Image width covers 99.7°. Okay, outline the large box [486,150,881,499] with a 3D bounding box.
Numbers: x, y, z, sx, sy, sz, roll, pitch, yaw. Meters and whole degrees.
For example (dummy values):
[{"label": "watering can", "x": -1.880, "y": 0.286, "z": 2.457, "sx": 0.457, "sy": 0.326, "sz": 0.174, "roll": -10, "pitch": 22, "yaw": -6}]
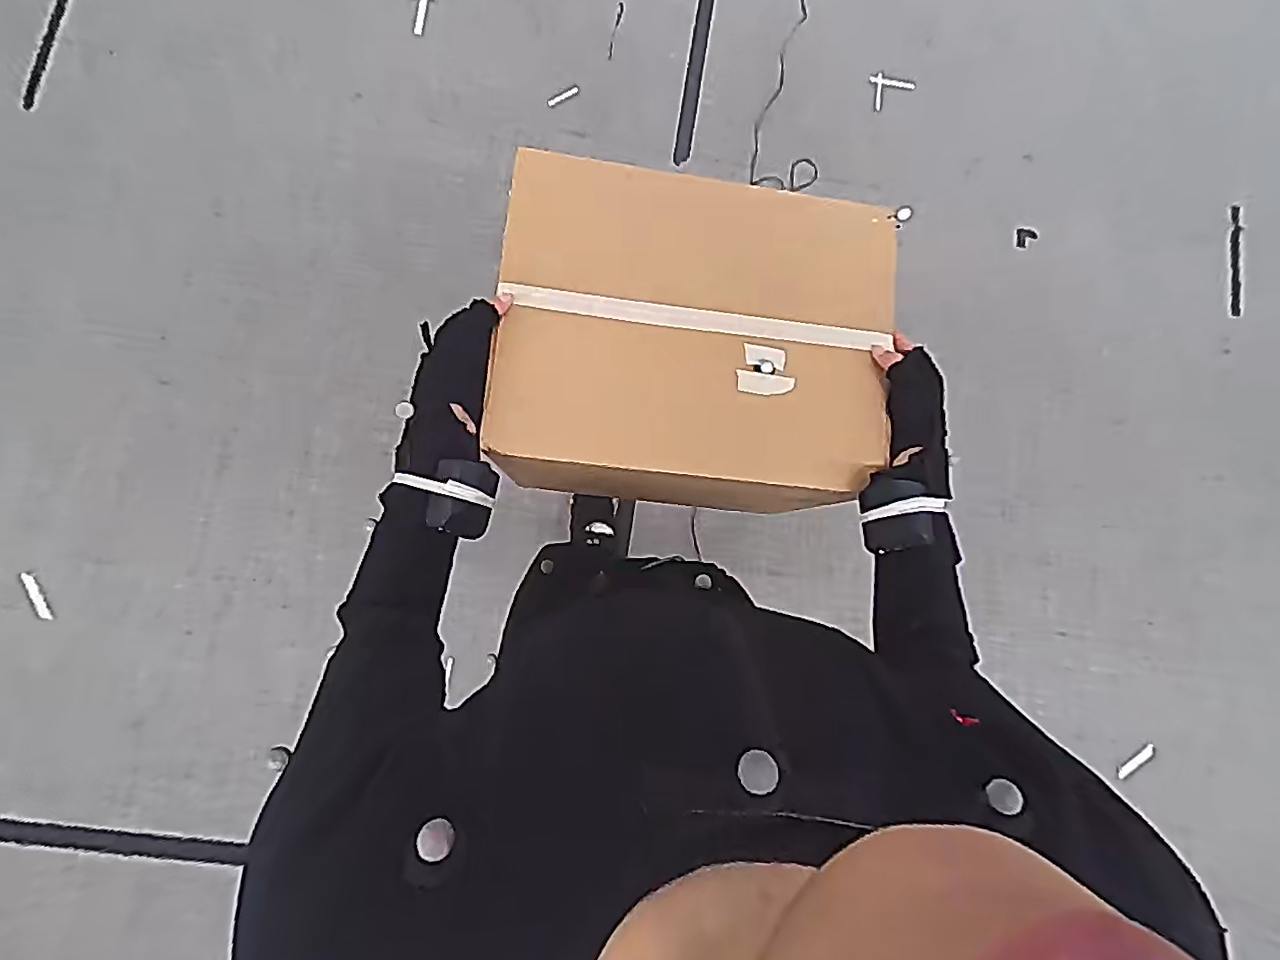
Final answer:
[{"label": "large box", "x": 0.039, "y": -0.155, "z": 0.705, "sx": 0.408, "sy": 0.320, "sz": 0.320, "roll": 7, "pitch": 84, "yaw": -6}]
